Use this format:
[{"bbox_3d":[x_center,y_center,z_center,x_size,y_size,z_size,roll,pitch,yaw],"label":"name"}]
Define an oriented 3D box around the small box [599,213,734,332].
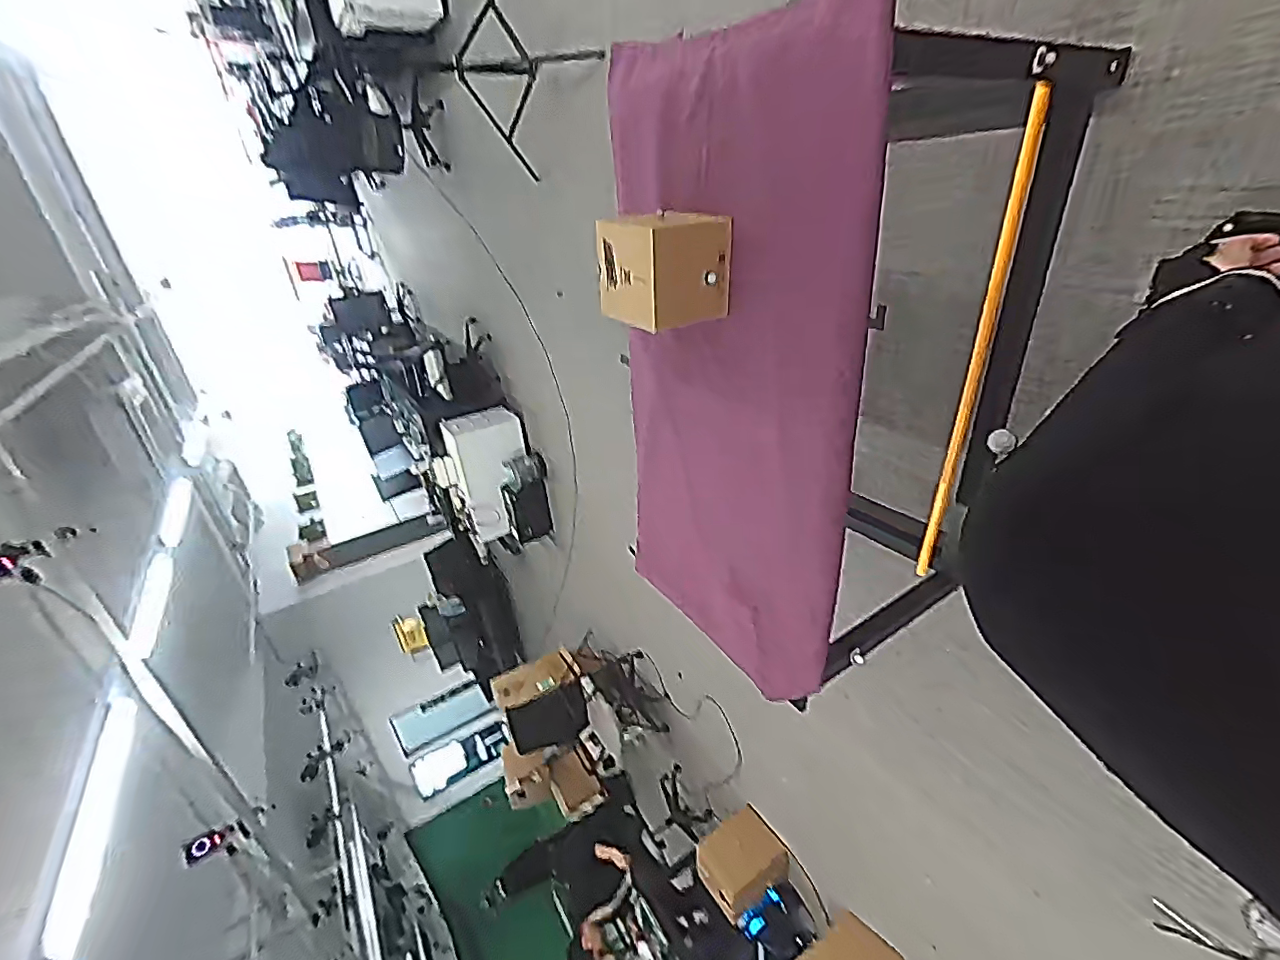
[{"bbox_3d":[0.044,-0.377,0.967,0.179,0.176,0.168,37,139,46],"label":"small box"}]
